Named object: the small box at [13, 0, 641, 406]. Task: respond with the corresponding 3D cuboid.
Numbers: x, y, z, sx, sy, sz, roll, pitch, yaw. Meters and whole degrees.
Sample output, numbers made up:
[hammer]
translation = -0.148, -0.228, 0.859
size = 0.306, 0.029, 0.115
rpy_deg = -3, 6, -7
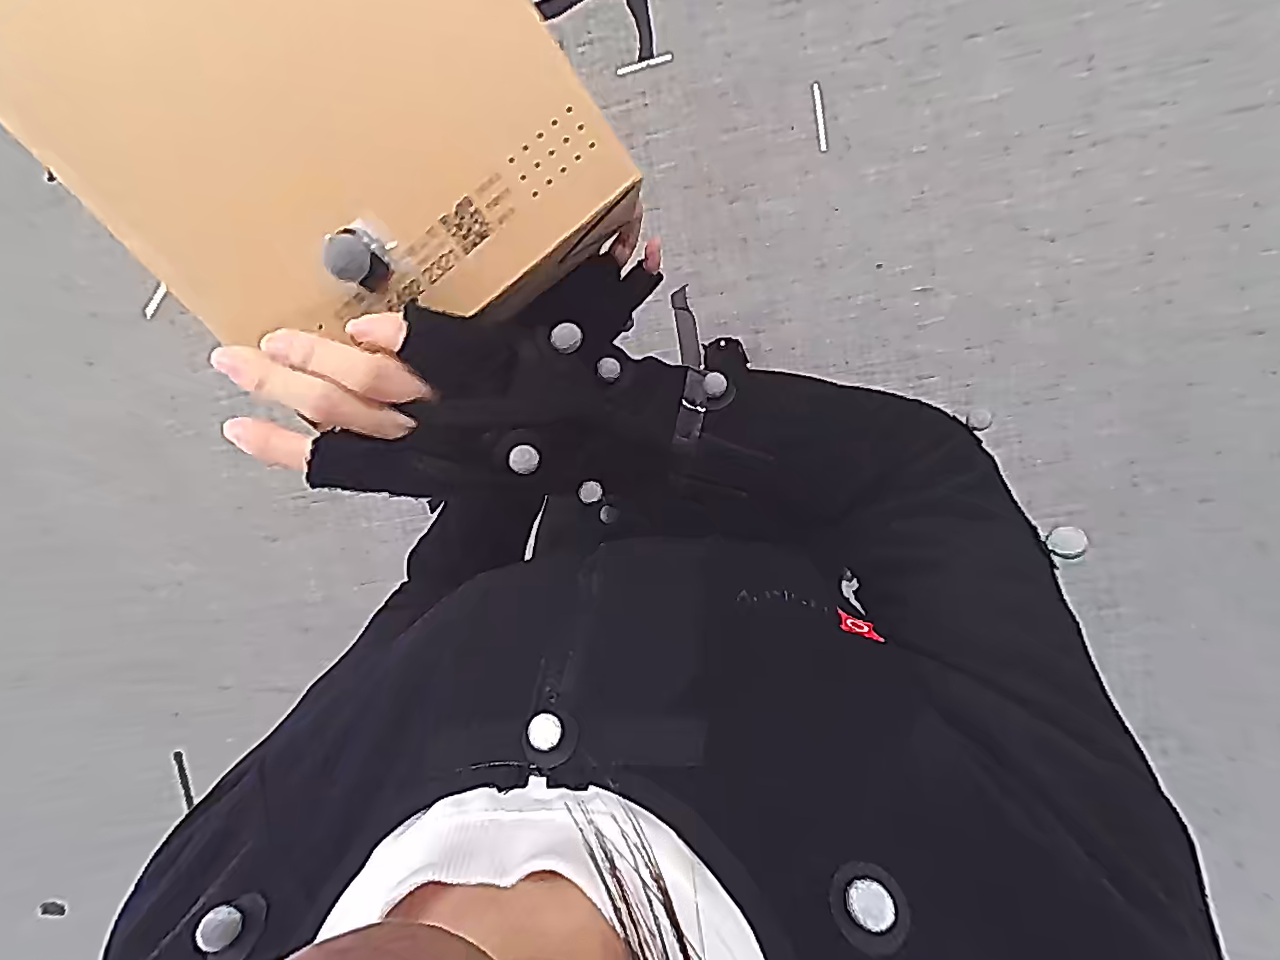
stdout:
[small box]
translation = -0.111, -0.160, 0.277
size = 0.168, 0.179, 0.176
rpy_deg = -34, 108, 13
